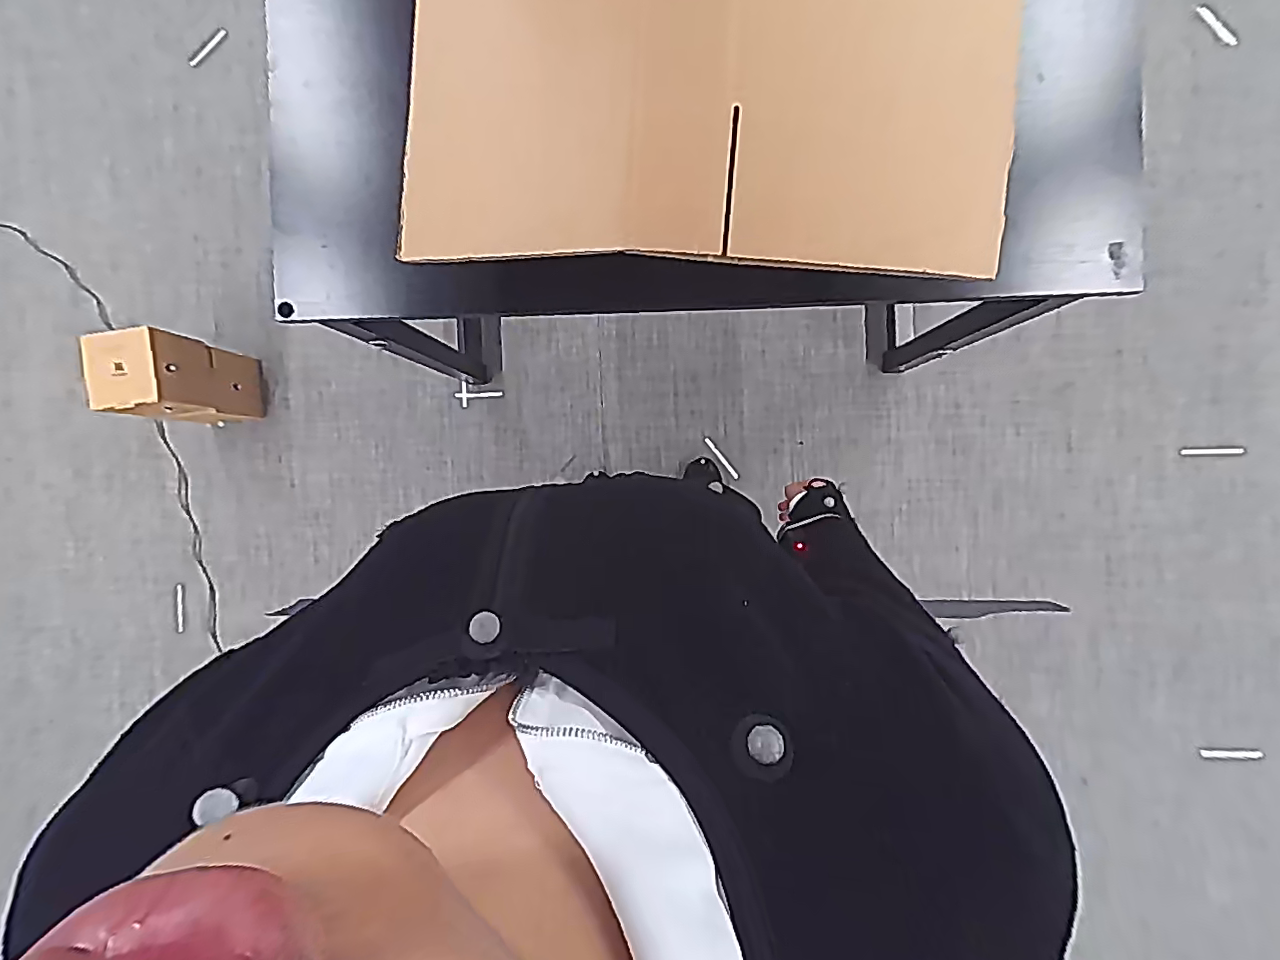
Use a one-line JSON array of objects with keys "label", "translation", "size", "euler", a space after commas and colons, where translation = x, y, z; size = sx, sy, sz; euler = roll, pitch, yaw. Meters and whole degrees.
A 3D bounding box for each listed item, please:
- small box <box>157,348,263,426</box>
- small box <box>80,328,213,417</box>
[{"label": "small box", "translation": [-1.168, -0.247, 1.469], "size": [0.168, 0.176, 0.179], "euler": [-5, 91, 3]}, {"label": "small box", "translation": [-1.179, -0.250, 1.307], "size": [0.168, 0.176, 0.179], "euler": [-8, 89, 2]}]
